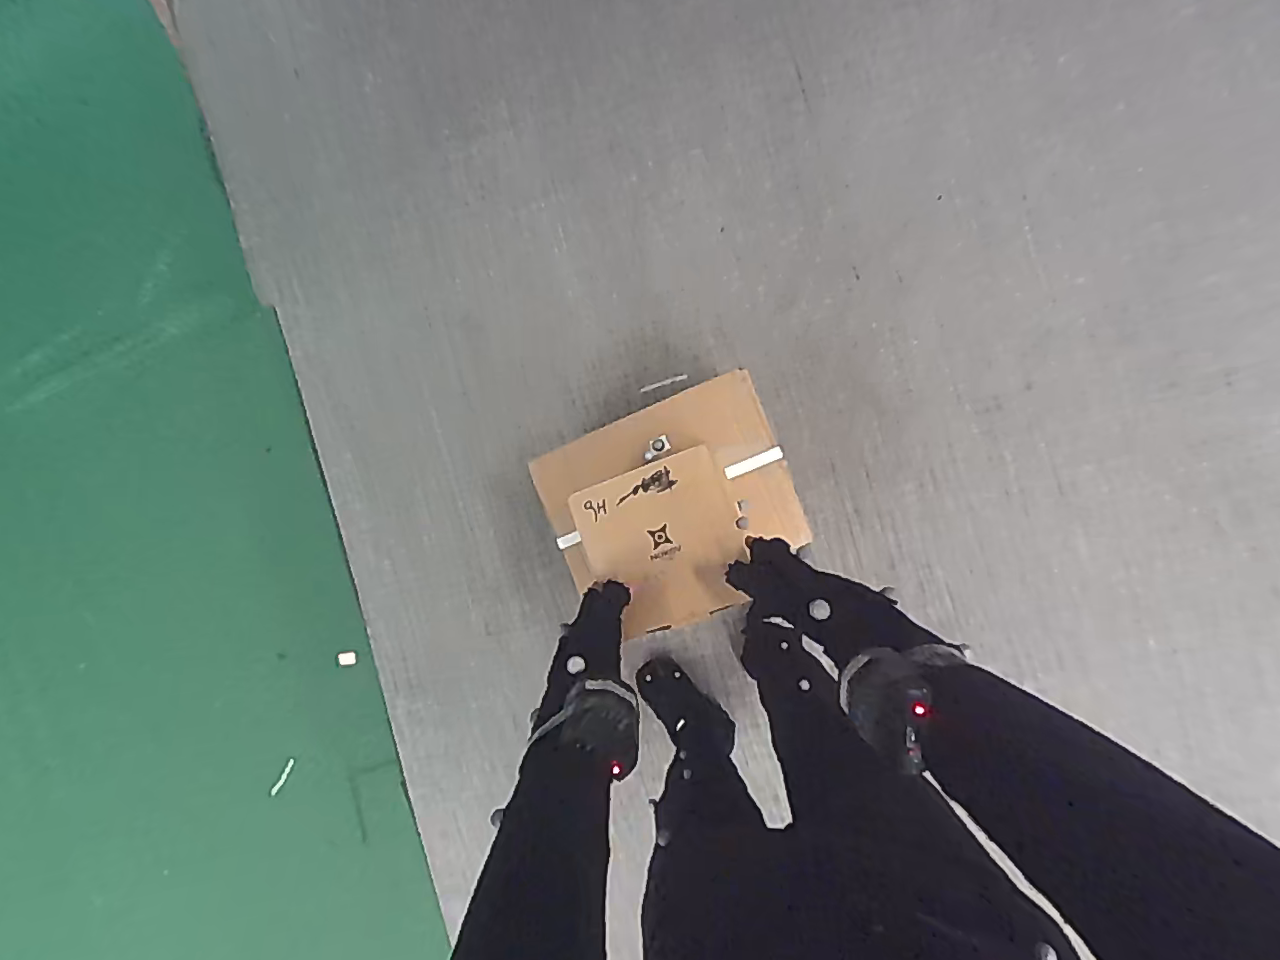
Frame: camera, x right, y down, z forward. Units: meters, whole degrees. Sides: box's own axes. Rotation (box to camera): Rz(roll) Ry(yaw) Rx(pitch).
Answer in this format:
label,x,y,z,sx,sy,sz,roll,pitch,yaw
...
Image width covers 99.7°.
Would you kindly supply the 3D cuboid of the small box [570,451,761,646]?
label,x,y,z,sx,sy,sz,roll,pitch,yaw
small box,0.039,0.071,0.659,0.168,0.176,0.179,-21,90,10
